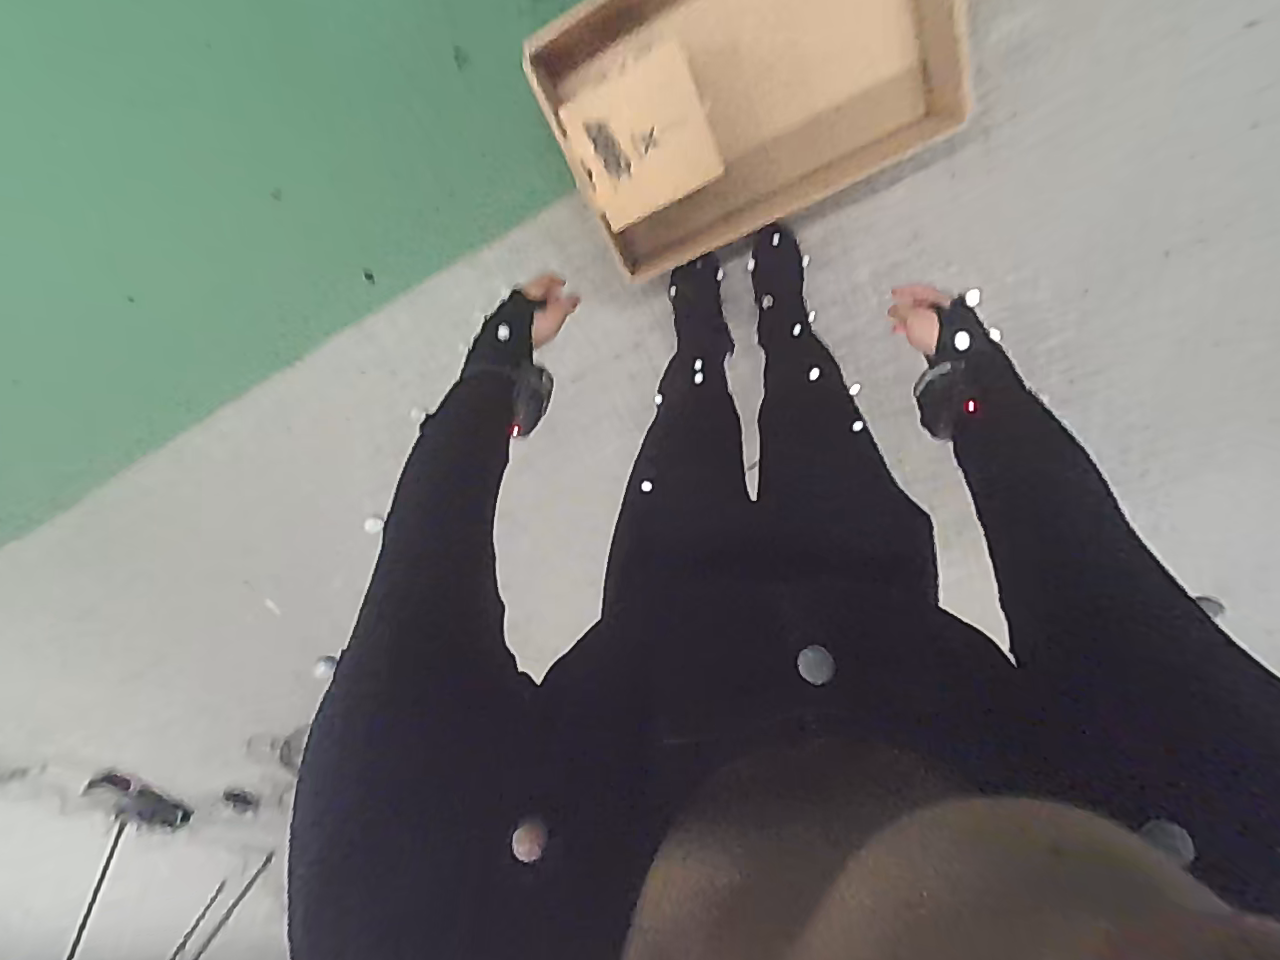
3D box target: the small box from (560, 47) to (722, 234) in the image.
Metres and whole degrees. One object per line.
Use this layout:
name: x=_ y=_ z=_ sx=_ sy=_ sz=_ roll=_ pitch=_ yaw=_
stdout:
small box: x=0.007 y=-0.495 z=0.799 sx=0.179 sy=0.176 sz=0.168 roll=-21 pitch=123 yaw=16
